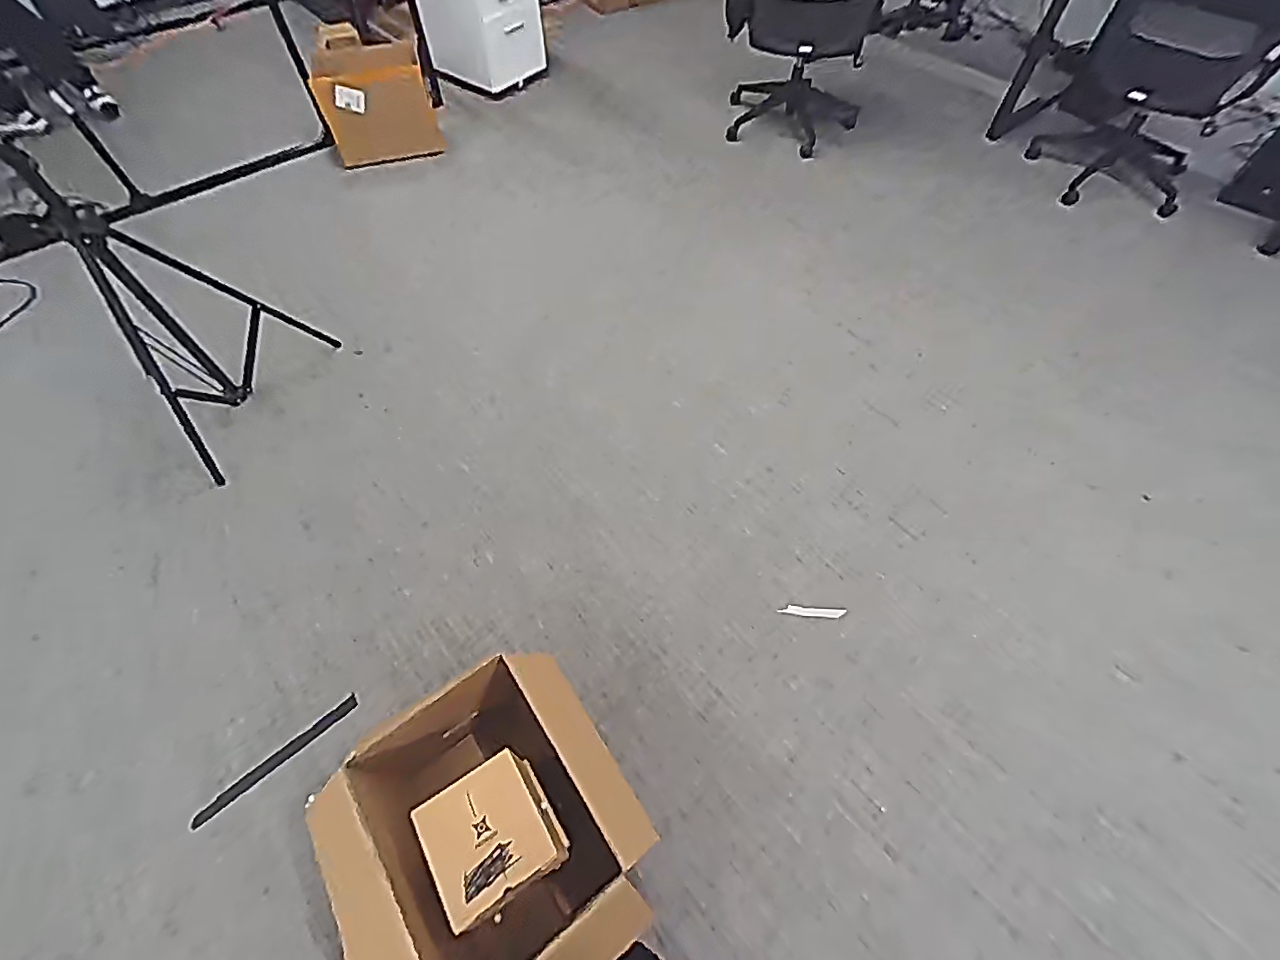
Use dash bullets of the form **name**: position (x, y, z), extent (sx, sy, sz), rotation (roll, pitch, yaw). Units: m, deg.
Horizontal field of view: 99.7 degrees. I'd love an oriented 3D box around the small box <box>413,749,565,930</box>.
- **small box**: position (-0.234, 0.573, 0.875), extent (0.168, 0.176, 0.179), rotation (-28, 59, -20)
